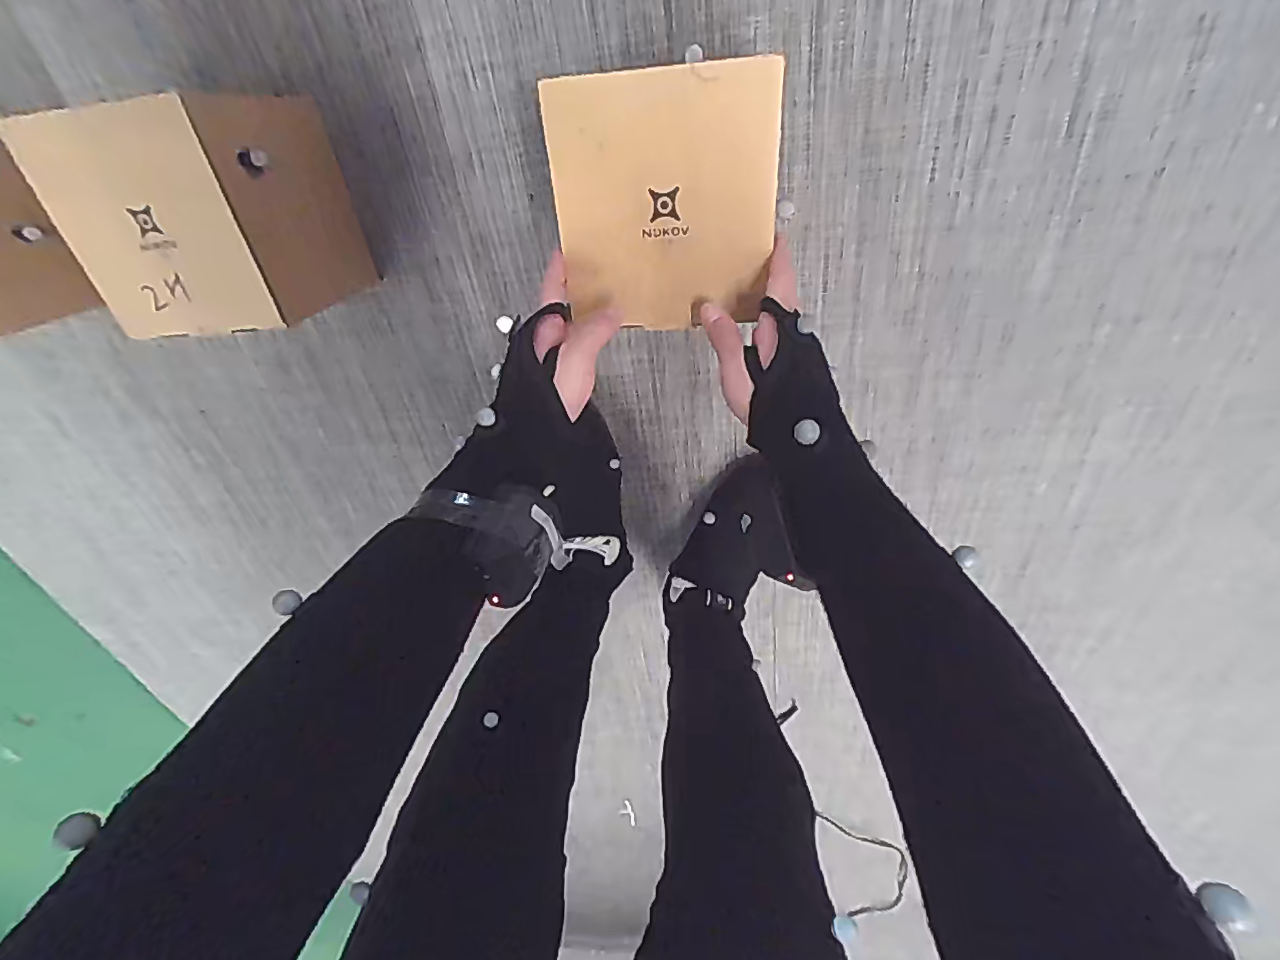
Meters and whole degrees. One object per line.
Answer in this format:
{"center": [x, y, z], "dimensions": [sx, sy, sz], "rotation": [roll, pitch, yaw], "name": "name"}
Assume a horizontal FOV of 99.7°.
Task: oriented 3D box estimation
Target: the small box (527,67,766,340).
{"center": [0.016, -0.239, 0.473], "dimensions": [0.168, 0.176, 0.179], "rotation": [-1, 125, 8], "name": "small box"}

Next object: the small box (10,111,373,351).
{"center": [-0.400, -0.242, 0.525], "dimensions": [0.168, 0.176, 0.179], "rotation": [-2, 124, 9], "name": "small box"}
